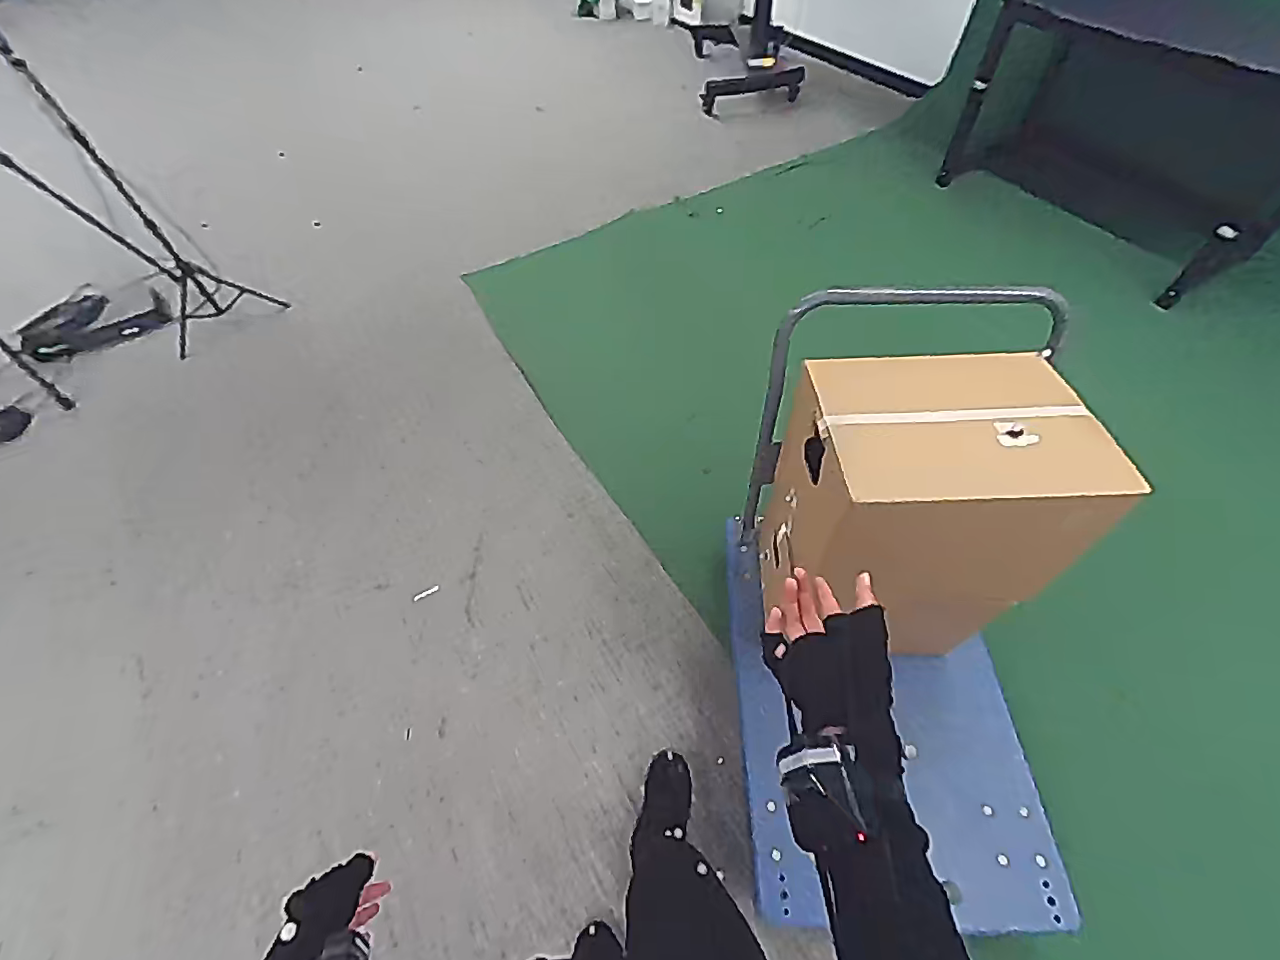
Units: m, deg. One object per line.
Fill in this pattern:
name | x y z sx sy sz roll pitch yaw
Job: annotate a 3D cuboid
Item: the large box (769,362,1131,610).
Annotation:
large box | 0.473 0.014 0.945 0.408 0.320 0.320 -1 49 0
